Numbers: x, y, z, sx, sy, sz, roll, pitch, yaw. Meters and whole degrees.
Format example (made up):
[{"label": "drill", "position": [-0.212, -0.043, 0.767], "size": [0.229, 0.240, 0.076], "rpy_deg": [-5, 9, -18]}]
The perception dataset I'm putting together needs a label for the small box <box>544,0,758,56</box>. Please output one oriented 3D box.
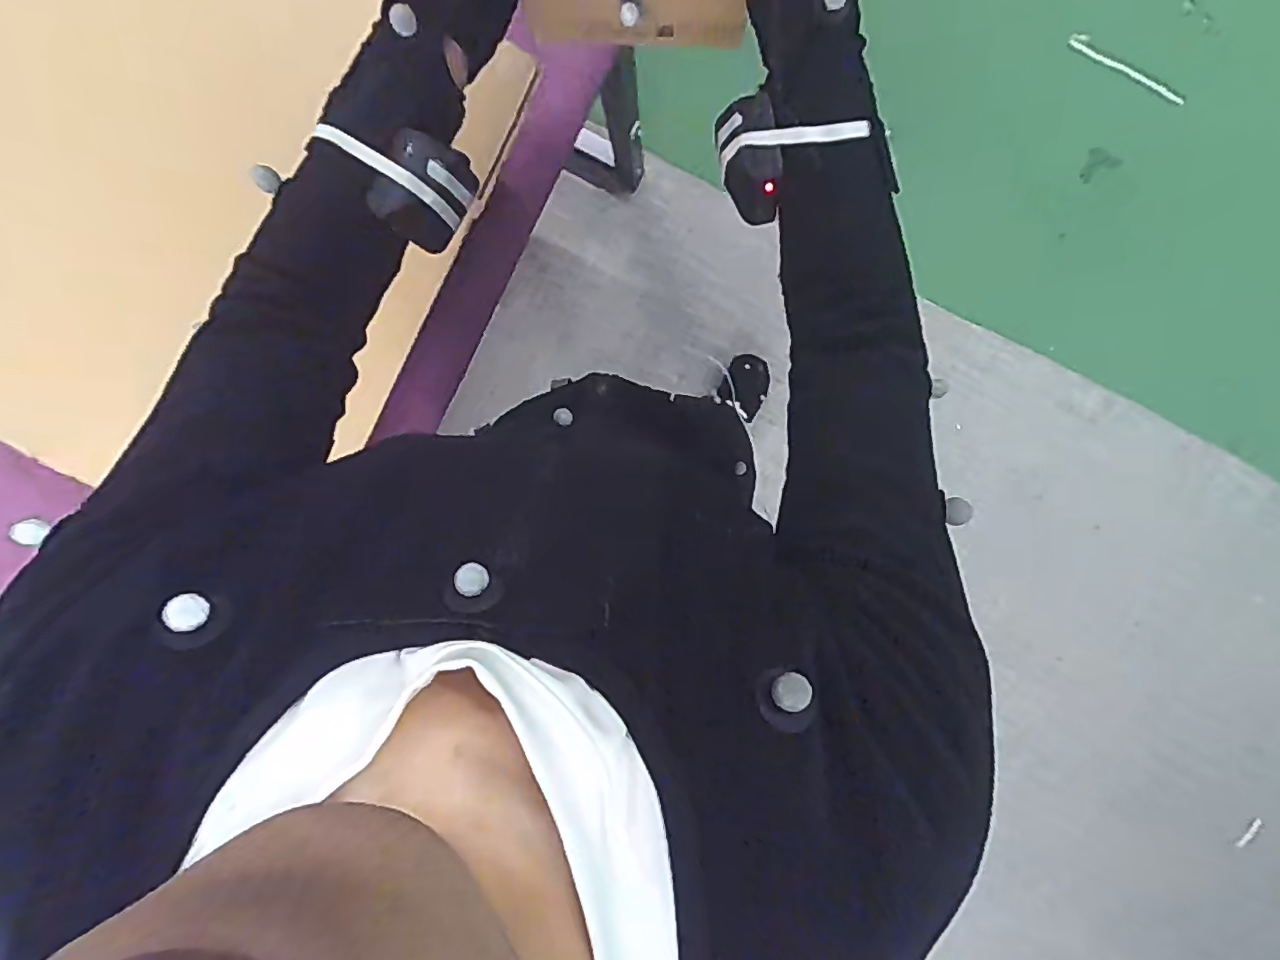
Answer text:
[{"label": "small box", "position": [0.008, -0.415, 0.337], "size": [0.168, 0.176, 0.179], "rpy_deg": [6, 102, 3]}]
